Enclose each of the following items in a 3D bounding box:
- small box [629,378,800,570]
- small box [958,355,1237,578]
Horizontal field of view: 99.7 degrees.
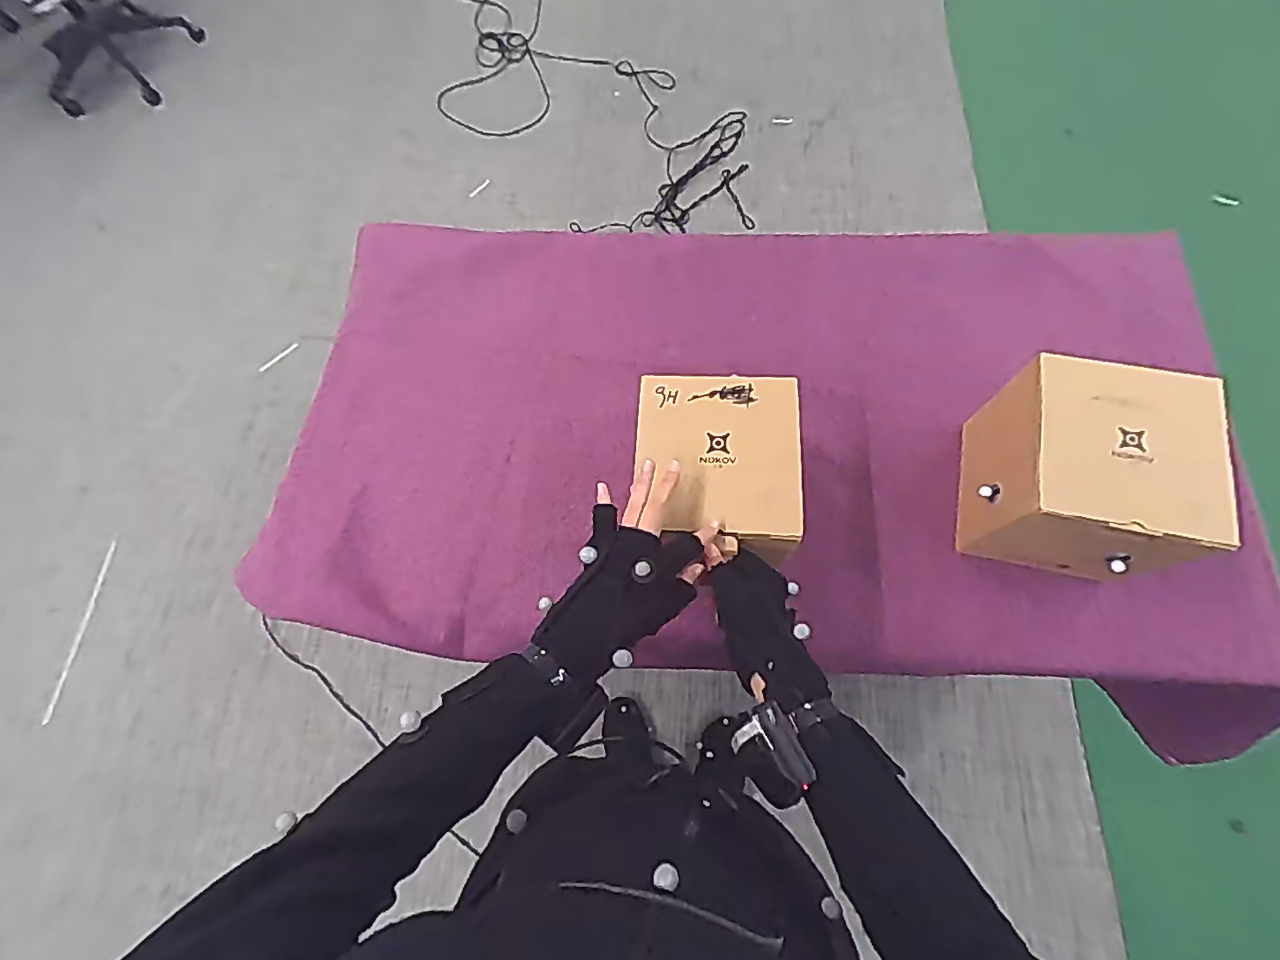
[{"bbox_3d":[0.084,0.002,0.617,0.168,0.176,0.179,2,70,6],"label":"small box"},{"bbox_3d":[0.468,-0.004,0.584,0.168,0.176,0.179,12,71,9],"label":"small box"}]
